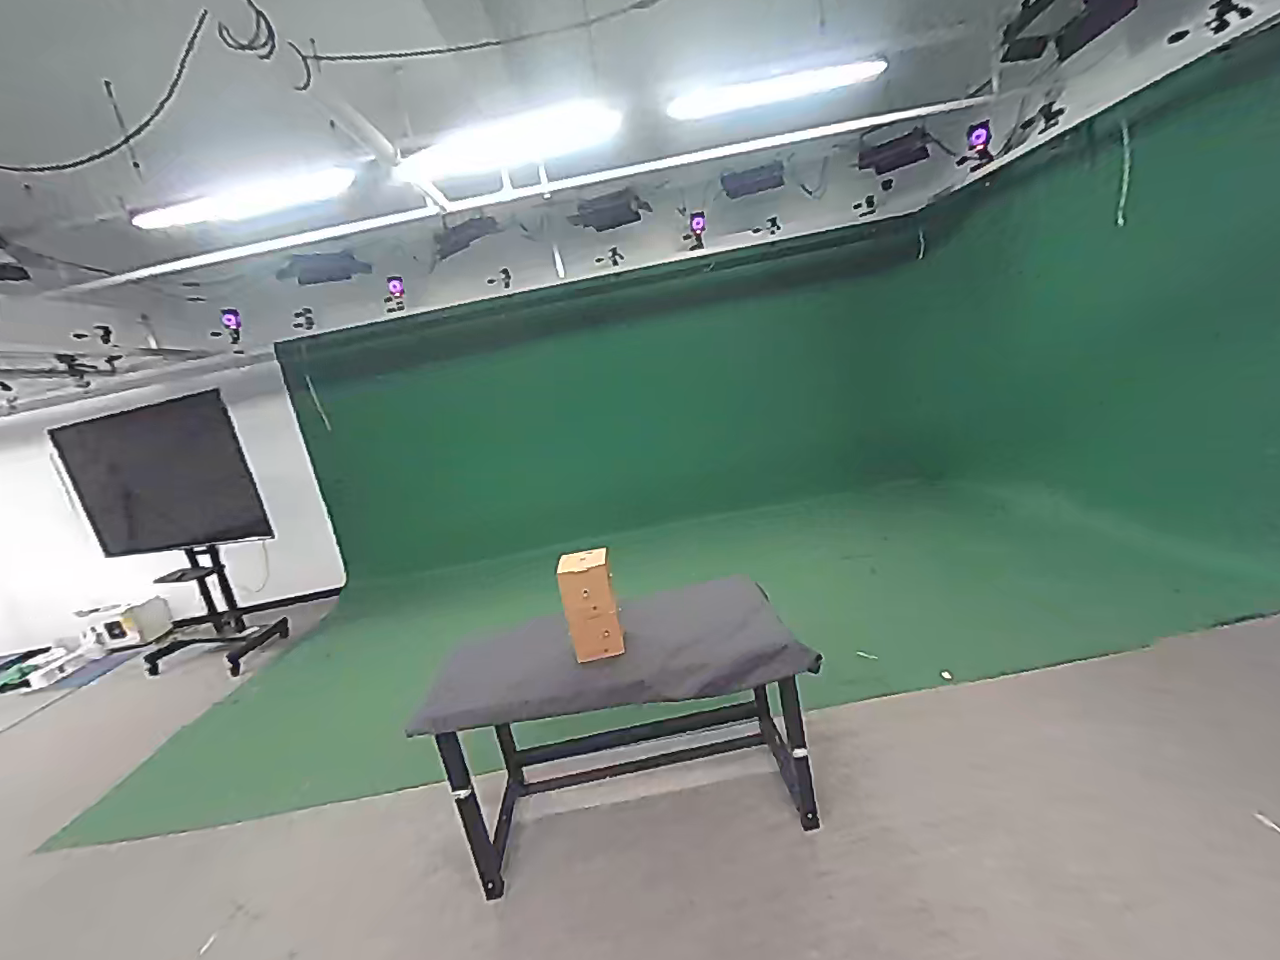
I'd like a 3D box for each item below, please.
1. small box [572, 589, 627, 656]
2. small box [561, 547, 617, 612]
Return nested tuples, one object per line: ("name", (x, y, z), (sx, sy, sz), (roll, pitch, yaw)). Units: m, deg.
("small box", (-0.141, 0.511, 1.921), (0.168, 0.176, 0.179), (-10, 11, -1))
("small box", (-0.173, 0.352, 1.893), (0.168, 0.176, 0.179), (-9, 13, 0))
